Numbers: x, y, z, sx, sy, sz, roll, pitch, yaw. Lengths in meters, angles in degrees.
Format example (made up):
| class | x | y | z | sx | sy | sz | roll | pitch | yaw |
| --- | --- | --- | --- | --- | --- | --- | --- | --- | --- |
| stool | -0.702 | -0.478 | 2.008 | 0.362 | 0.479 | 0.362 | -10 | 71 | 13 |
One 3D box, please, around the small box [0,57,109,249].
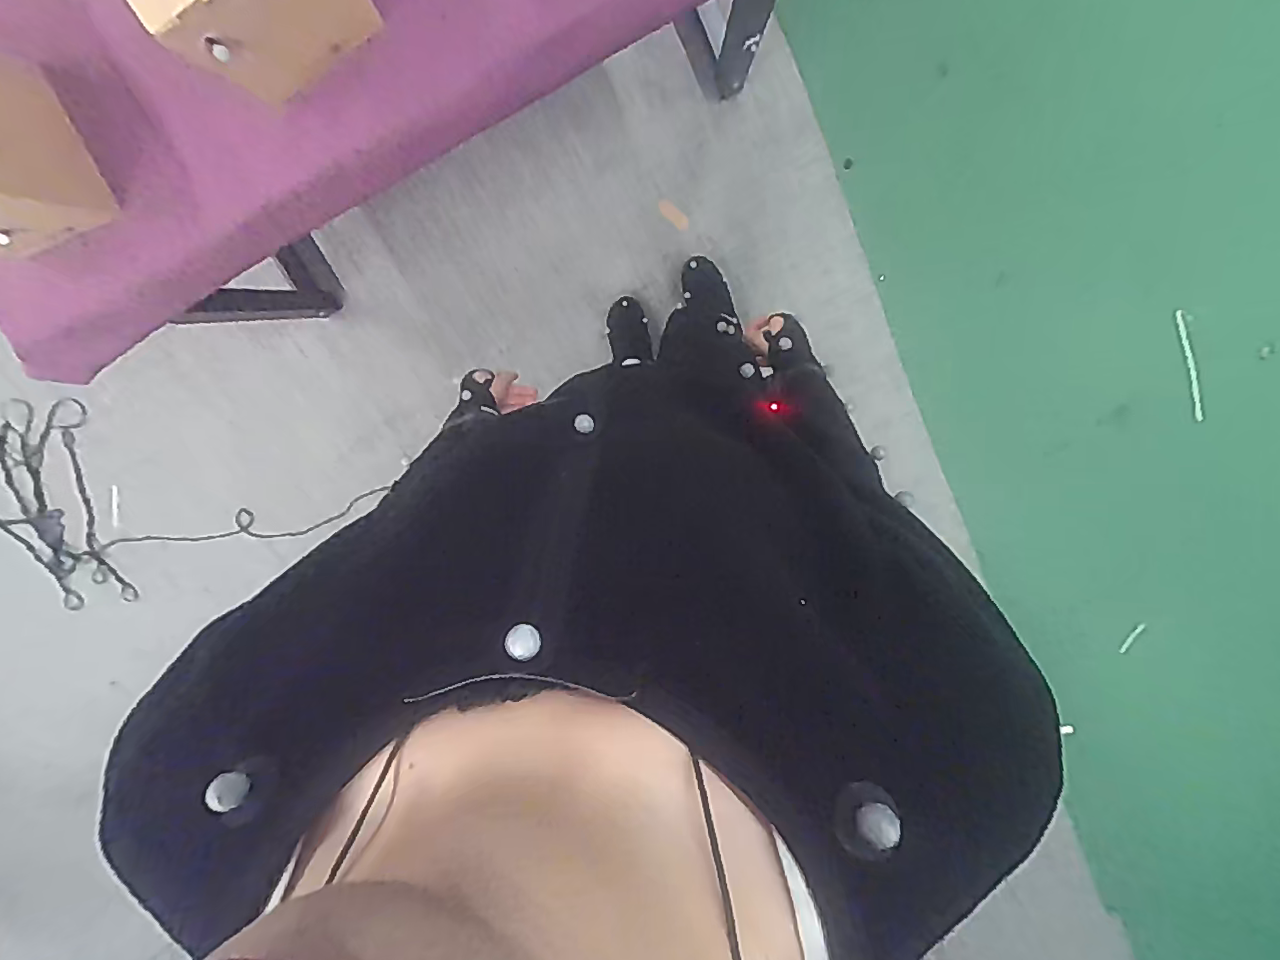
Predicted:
| class | x | y | z | sx | sy | sz | roll | pitch | yaw |
| --- | --- | --- | --- | --- | --- | --- | --- | --- | --- |
| small box | -0.759 | -0.364 | 0.587 | 0.168 | 0.176 | 0.179 | -17 | 107 | 6 |
